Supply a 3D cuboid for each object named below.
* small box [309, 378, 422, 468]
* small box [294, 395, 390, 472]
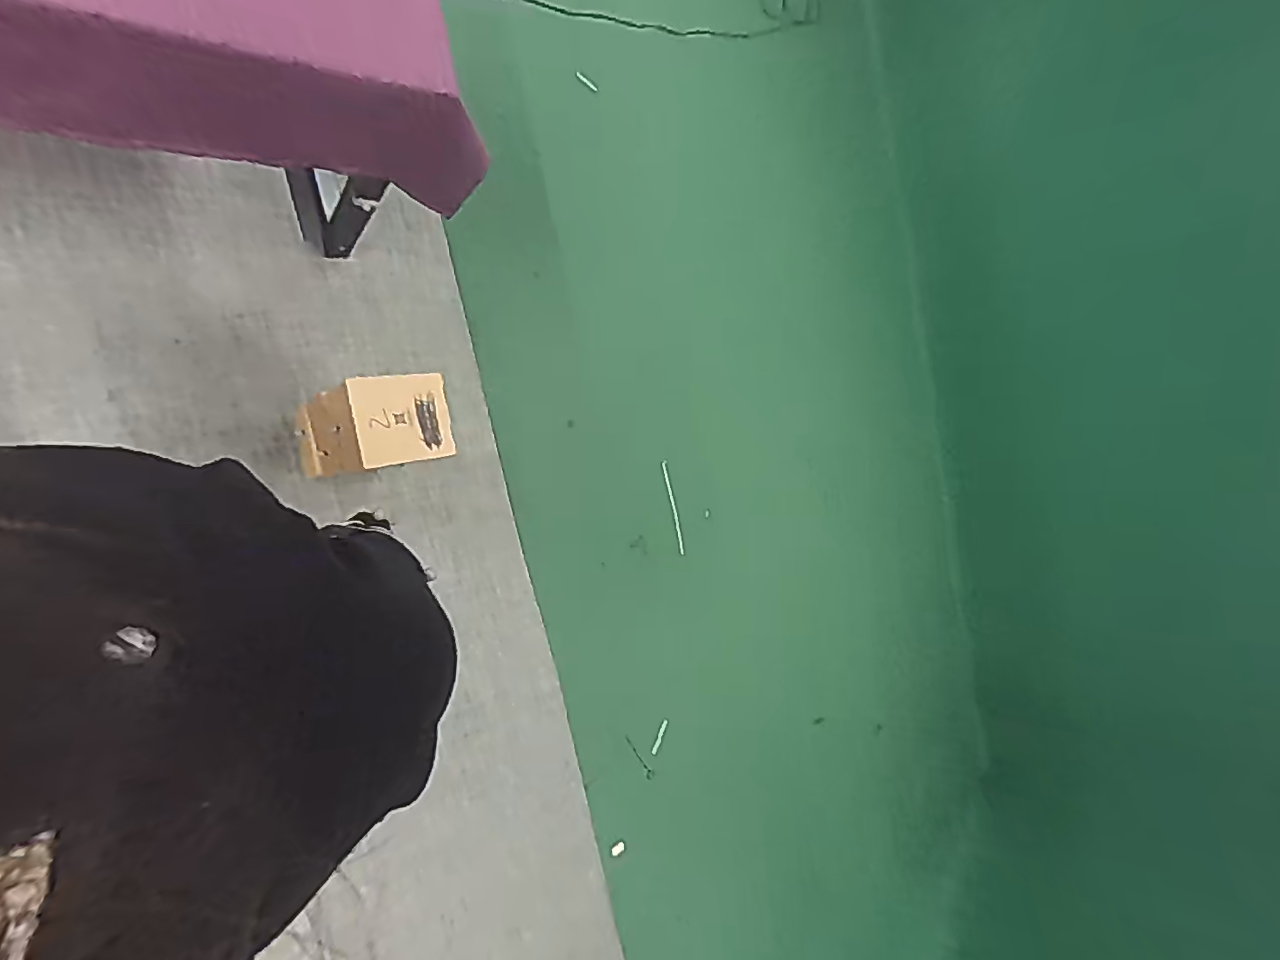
[{"bbox_3d":[-0.613,-0.124,1.198,0.179,0.176,0.168,-16,99,-41],"label":"small box"},{"bbox_3d":[-0.725,-0.116,1.317,0.179,0.176,0.168,-12,95,-41],"label":"small box"}]
